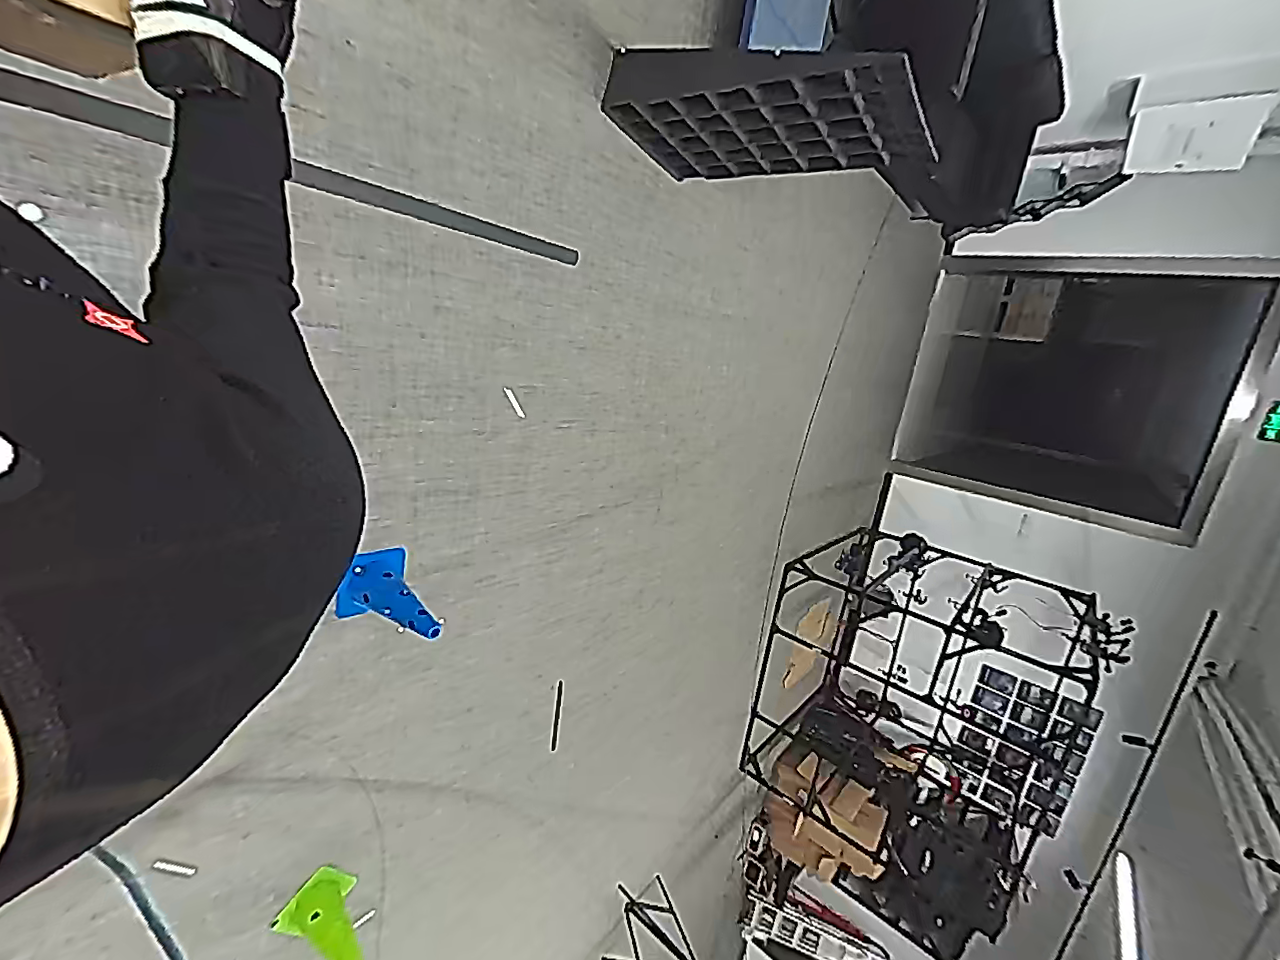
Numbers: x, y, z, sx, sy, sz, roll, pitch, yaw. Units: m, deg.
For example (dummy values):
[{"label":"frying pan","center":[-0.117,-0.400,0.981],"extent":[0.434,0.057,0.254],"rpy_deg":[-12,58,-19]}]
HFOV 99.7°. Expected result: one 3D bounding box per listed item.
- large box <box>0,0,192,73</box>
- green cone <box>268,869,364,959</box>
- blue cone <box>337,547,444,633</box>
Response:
[{"label":"large box","center":[-0.524,-0.469,0.260],"extent":[0.408,0.320,0.320],"rpy_deg":[-12,120,-53]},{"label":"green cone","center":[-0.947,1.442,1.683],"extent":[0.202,0.368,0.200],"rpy_deg":[-49,140,-29]},{"label":"blue cone","center":[-0.692,0.347,1.550],"extent":[0.192,0.380,0.193],"rpy_deg":[-4,109,-53]}]
